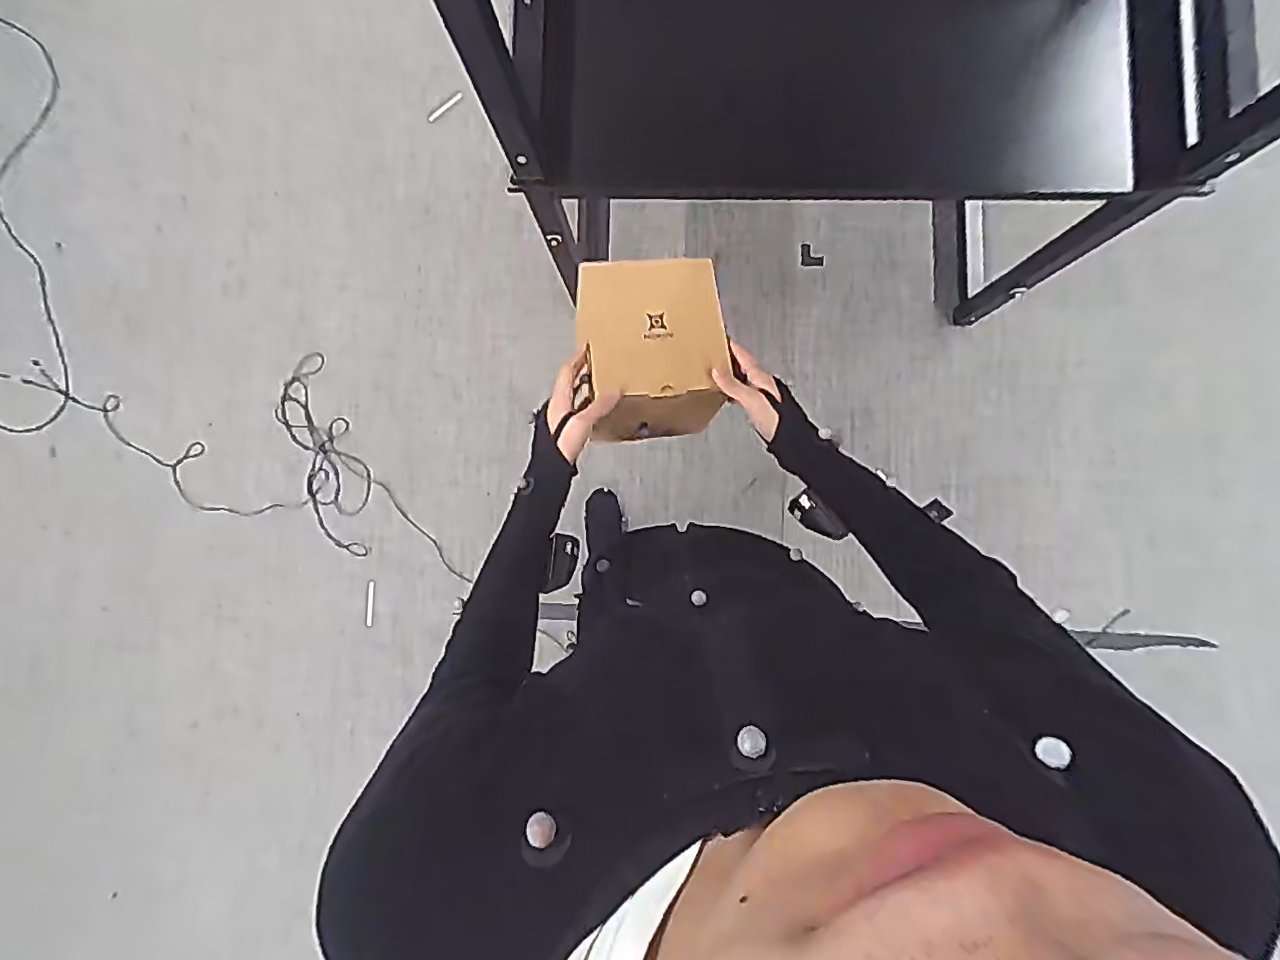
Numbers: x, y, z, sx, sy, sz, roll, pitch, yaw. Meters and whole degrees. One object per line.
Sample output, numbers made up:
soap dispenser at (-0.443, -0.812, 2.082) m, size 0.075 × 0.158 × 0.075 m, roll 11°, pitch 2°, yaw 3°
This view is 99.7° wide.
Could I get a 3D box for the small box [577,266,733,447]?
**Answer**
small box at (0.007, -0.156, 0.716) m, size 0.168 × 0.176 × 0.179 m, roll -6°, pitch 77°, yaw -9°
